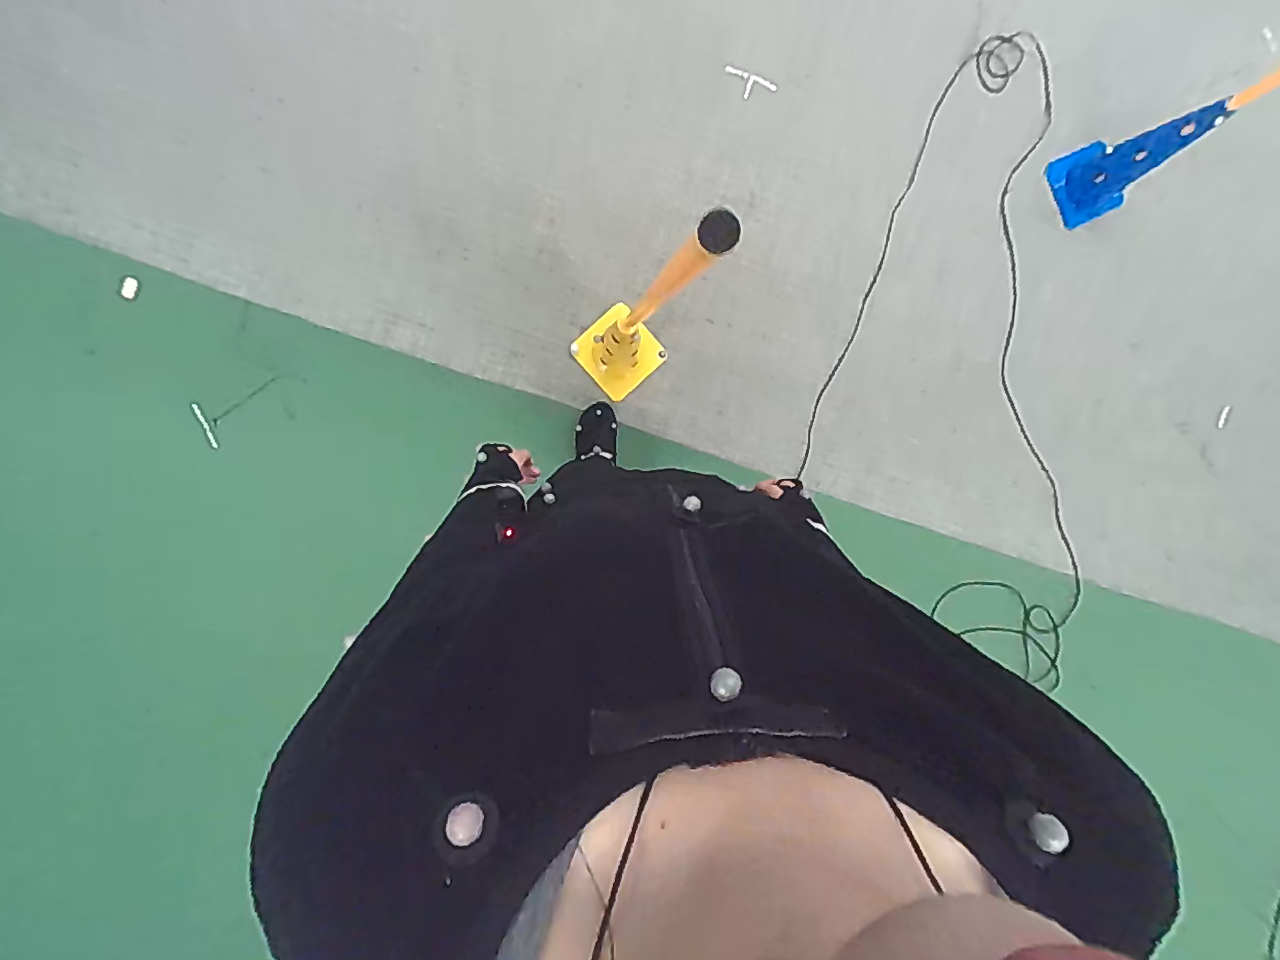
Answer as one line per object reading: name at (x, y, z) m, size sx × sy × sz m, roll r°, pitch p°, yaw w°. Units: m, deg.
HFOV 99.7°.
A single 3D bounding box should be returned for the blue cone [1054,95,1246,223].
blue cone at (1.302, -0.850, 1.379) m, size 0.193 × 0.380 × 0.192 m, roll -28°, pitch 95°, yaw -5°
